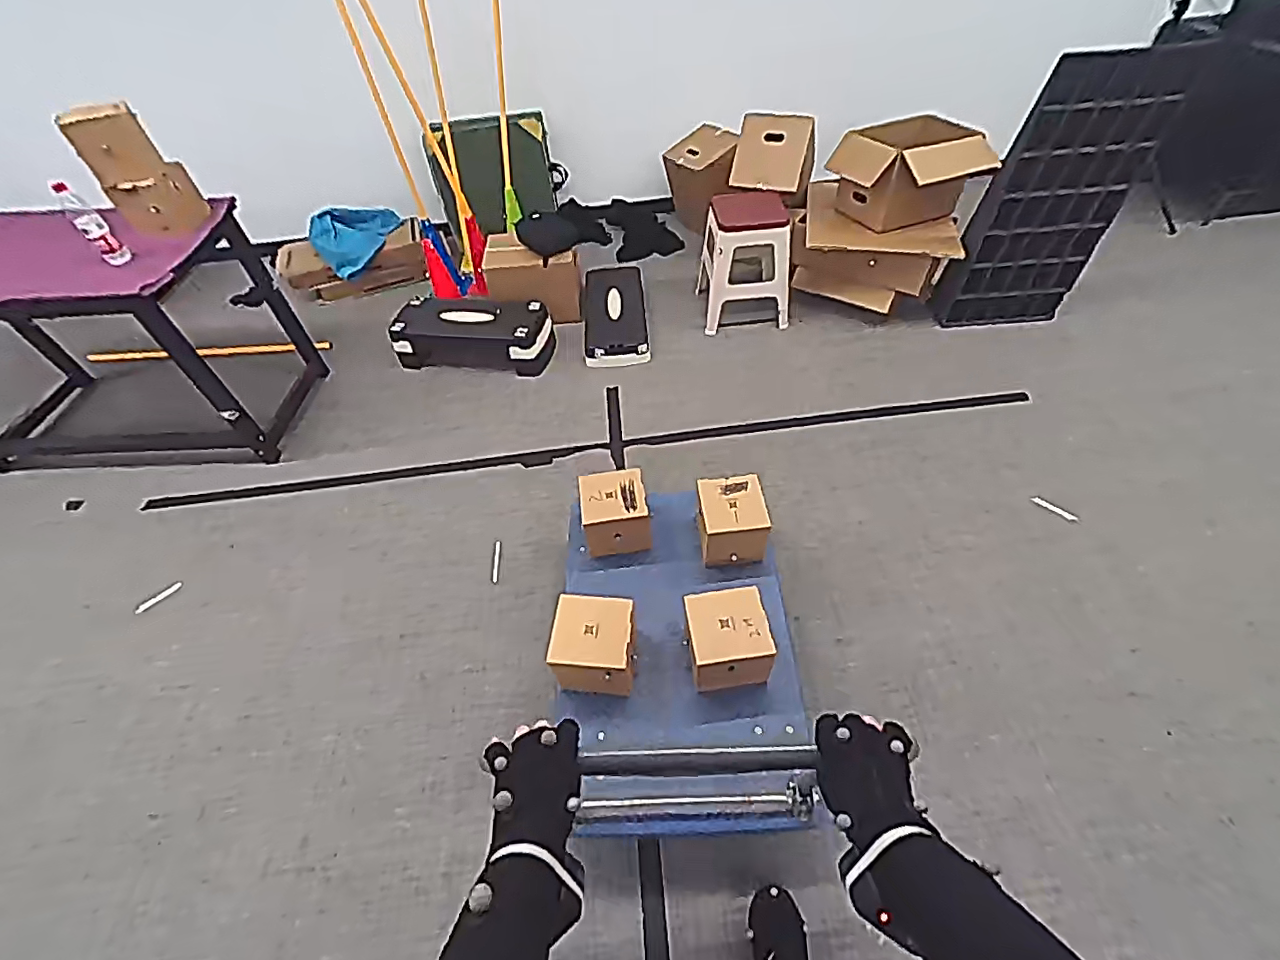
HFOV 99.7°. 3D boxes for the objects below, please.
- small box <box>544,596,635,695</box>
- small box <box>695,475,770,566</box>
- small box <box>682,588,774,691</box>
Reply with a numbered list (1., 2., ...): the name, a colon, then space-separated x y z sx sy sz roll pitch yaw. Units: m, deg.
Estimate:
1. small box: -0.108 0.388 1.258 0.179 0.176 0.168 3 50 5
2. small box: 0.241 0.112 1.458 0.168 0.176 0.179 -6 51 0
3. small box: 0.196 0.371 1.247 0.179 0.176 0.168 -8 51 -2
